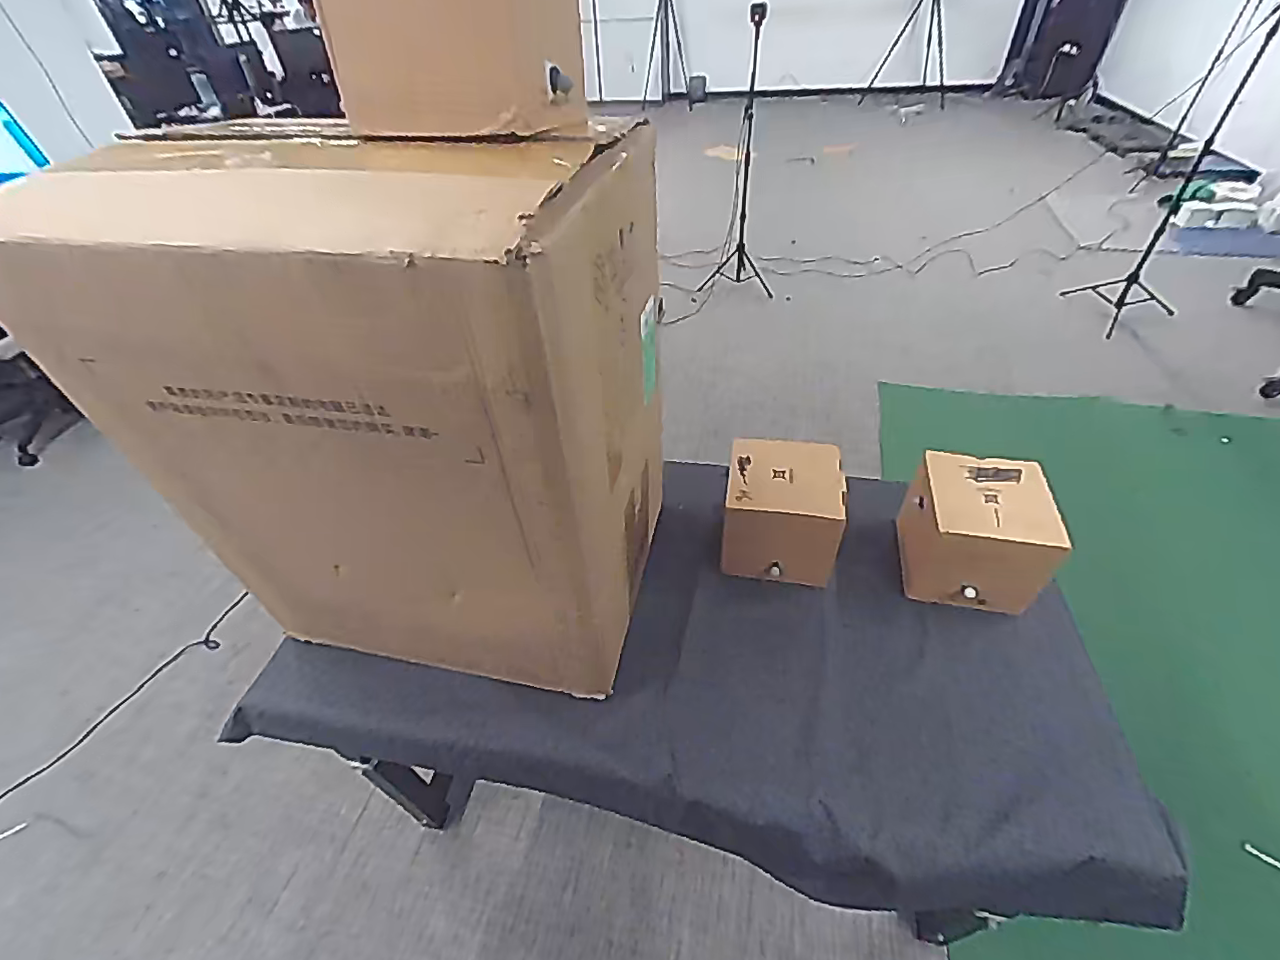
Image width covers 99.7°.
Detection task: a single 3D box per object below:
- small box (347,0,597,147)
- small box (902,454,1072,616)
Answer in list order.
[{"bbox_3d":[-0.147,-0.413,0.498,0.179,0.176,0.168,8,40,11],"label":"small box"},{"bbox_3d":[0.527,0.085,0.854,0.168,0.176,0.179,7,45,13],"label":"small box"}]
